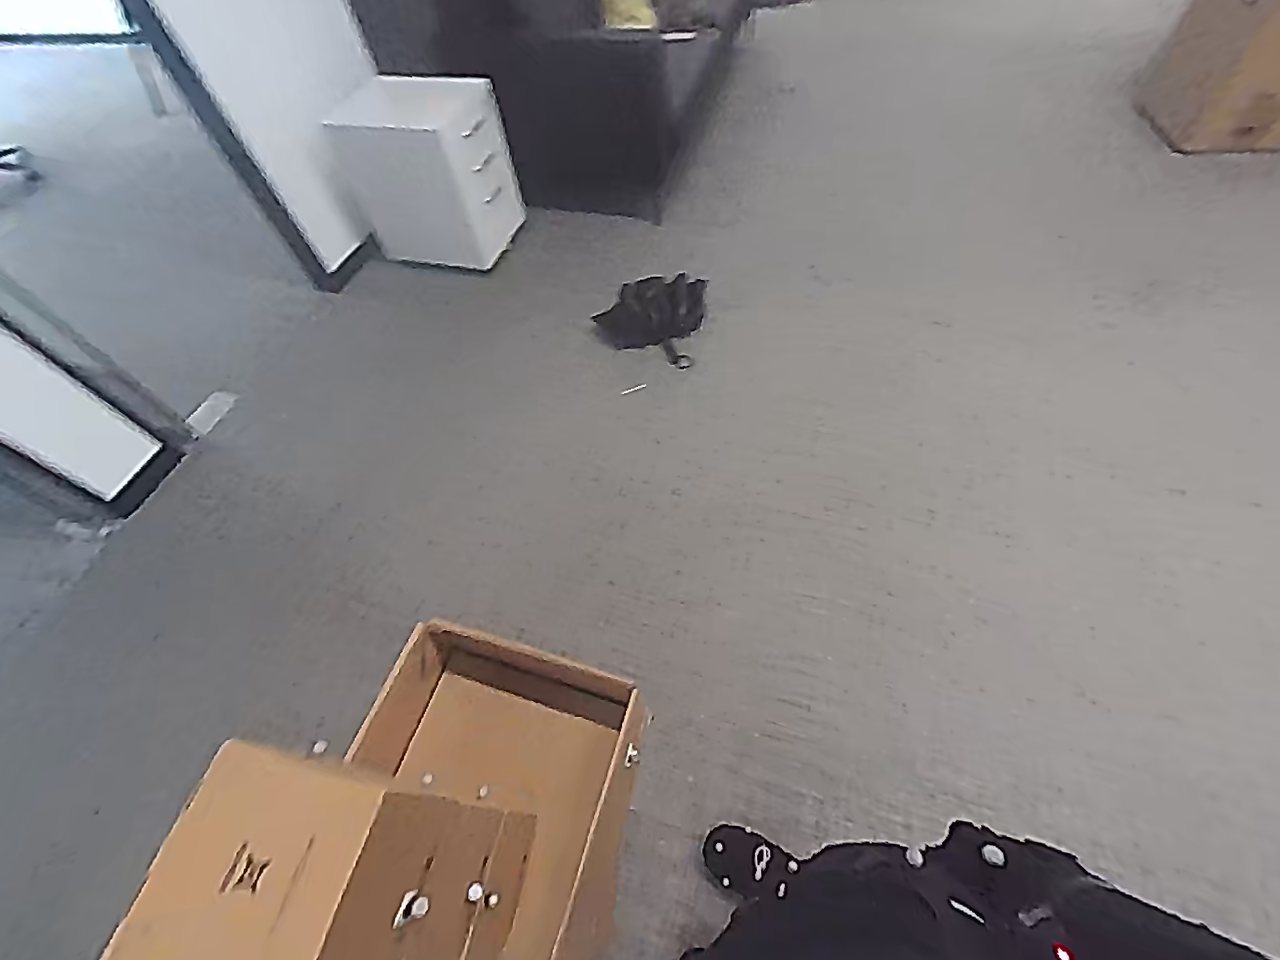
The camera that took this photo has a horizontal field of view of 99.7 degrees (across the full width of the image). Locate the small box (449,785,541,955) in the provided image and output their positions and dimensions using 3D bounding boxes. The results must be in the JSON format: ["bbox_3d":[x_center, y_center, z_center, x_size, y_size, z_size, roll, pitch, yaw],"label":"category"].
[{"bbox_3d":[-0.266,0.541,0.777,0.179,0.176,0.168,6,59,13],"label":"small box"}]

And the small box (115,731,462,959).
[{"bbox_3d":[-0.303,0.356,0.512,0.179,0.176,0.168,8,60,12],"label":"small box"}]

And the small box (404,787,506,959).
[{"bbox_3d":[-0.287,0.450,0.643,0.179,0.176,0.168,8,58,12],"label":"small box"}]
